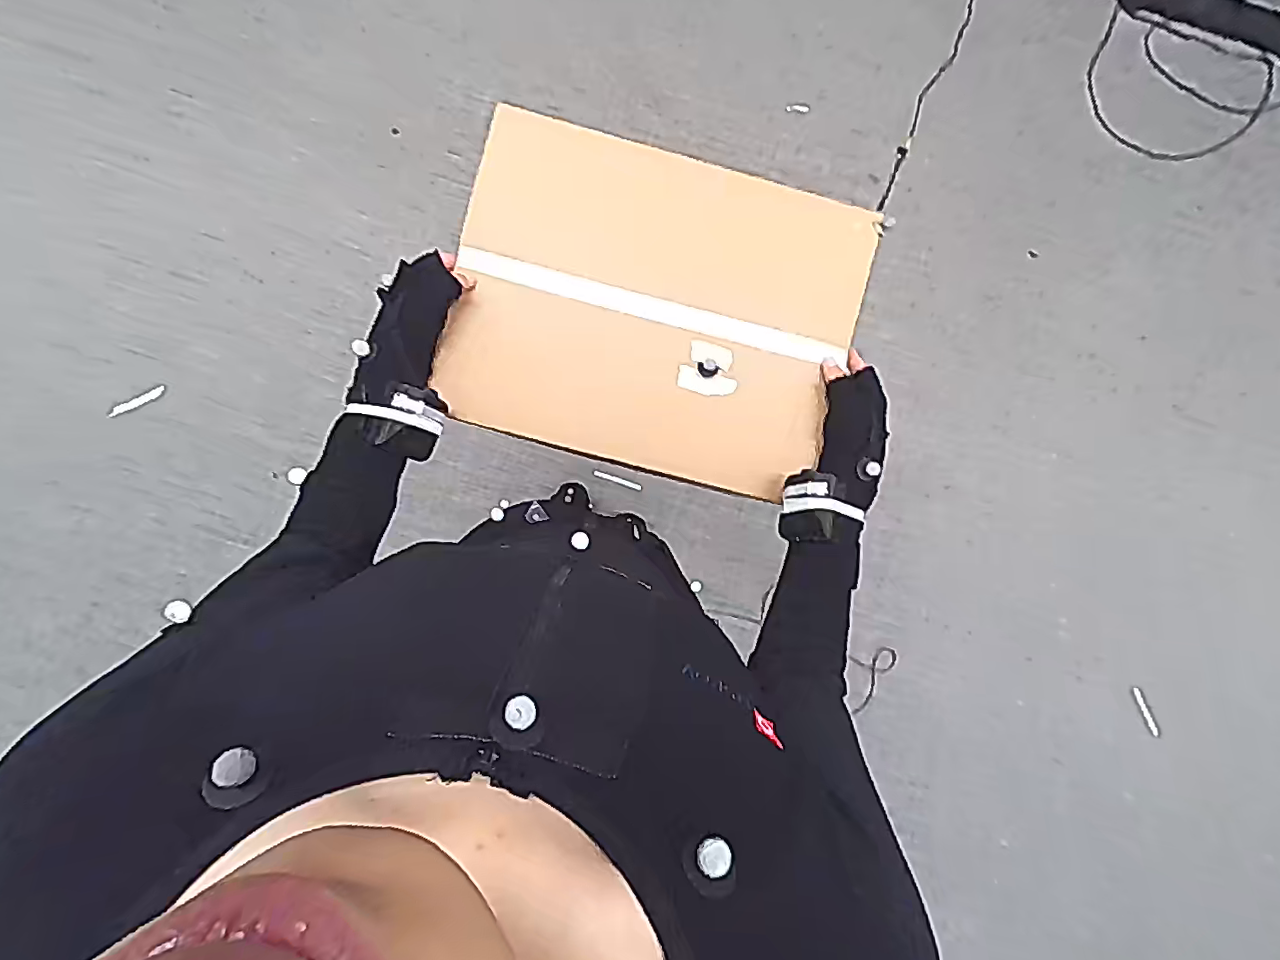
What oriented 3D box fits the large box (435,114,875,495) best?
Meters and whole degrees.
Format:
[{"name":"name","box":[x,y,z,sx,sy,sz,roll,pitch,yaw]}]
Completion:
[{"name":"large box","box":[0.010,-0.178,0.701,0.408,0.320,0.320,15,91,-3]}]
